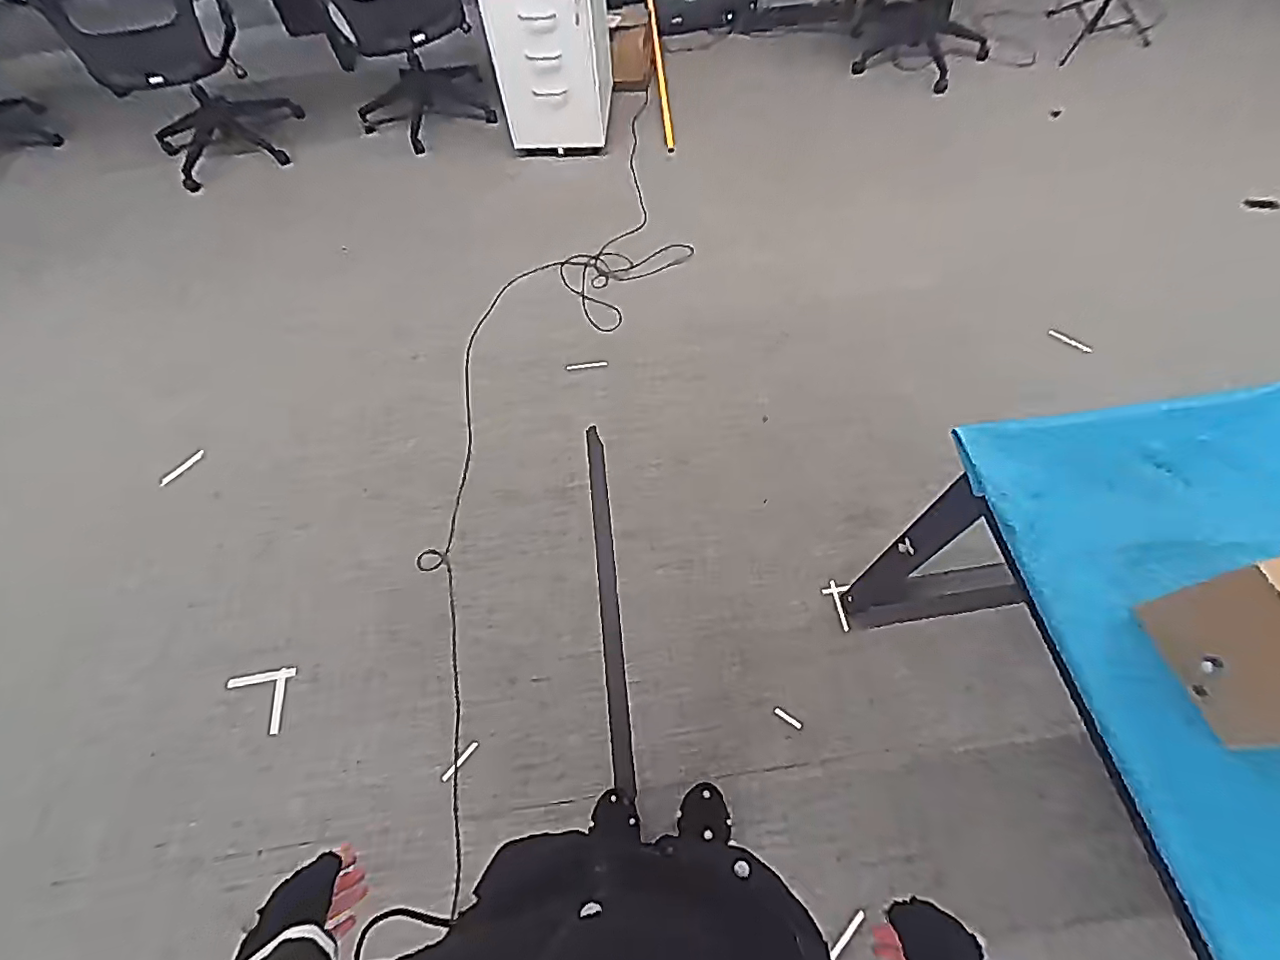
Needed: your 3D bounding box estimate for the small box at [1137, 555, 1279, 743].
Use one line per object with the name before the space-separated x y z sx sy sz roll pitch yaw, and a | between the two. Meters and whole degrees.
small box | 0.706 0.173 0.570 0.179 0.176 0.168 -11 61 0
